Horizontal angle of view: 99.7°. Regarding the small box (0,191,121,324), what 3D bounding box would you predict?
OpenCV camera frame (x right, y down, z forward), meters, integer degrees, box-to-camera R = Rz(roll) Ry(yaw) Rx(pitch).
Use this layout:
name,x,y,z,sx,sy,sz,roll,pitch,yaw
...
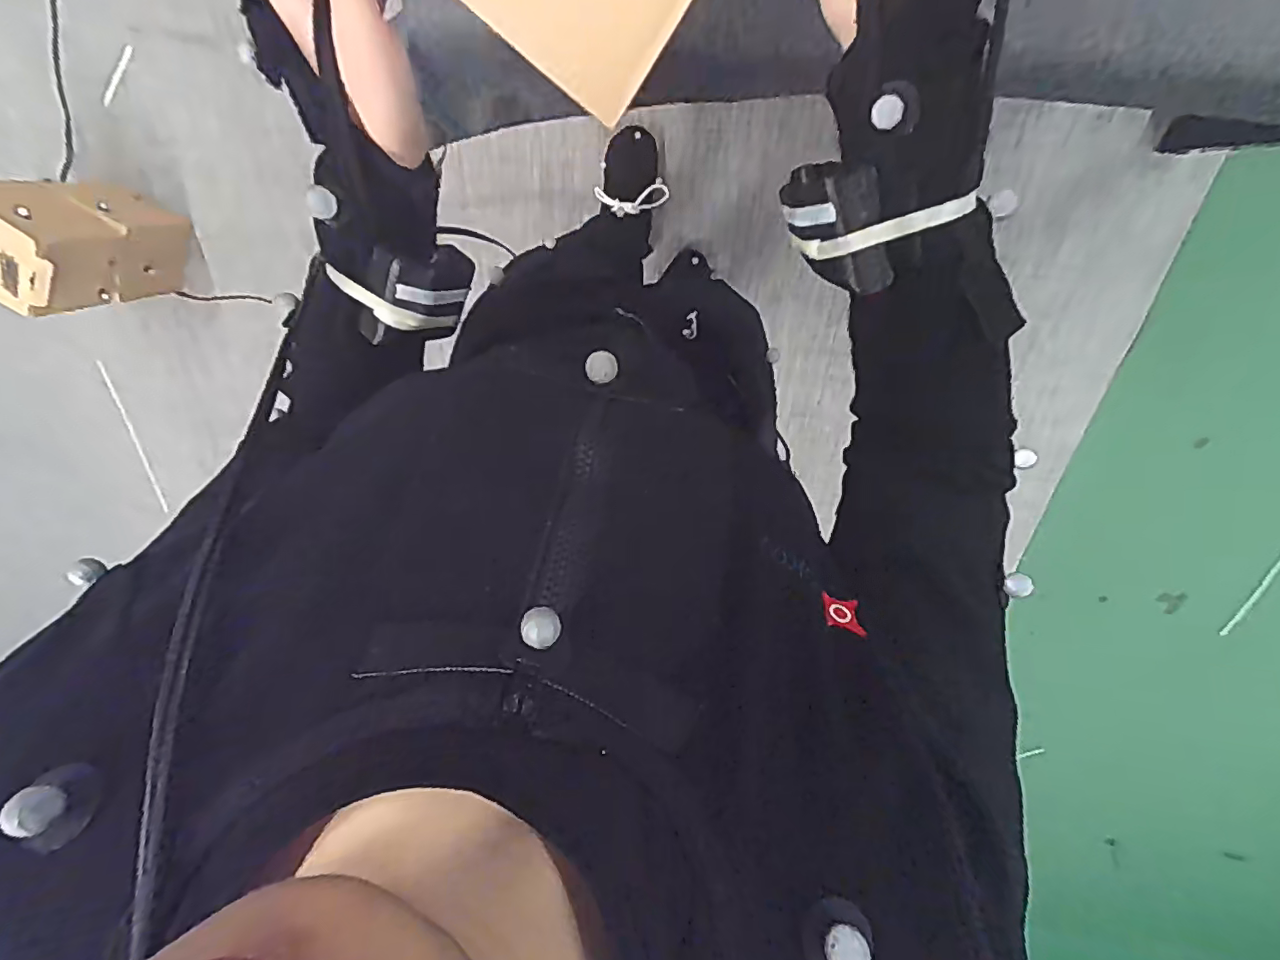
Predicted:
name,x,y,z,sx,sy,sz,roll,pitch,yaw
small box,-1.166,-0.432,1.037,0.179,0.176,0.168,35,114,-12

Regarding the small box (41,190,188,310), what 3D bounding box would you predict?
name,x,y,z,sx,sy,sz,roll,pitch,yaw
small box,-1.144,-0.505,1.184,0.168,0.176,0.179,30,115,-11
